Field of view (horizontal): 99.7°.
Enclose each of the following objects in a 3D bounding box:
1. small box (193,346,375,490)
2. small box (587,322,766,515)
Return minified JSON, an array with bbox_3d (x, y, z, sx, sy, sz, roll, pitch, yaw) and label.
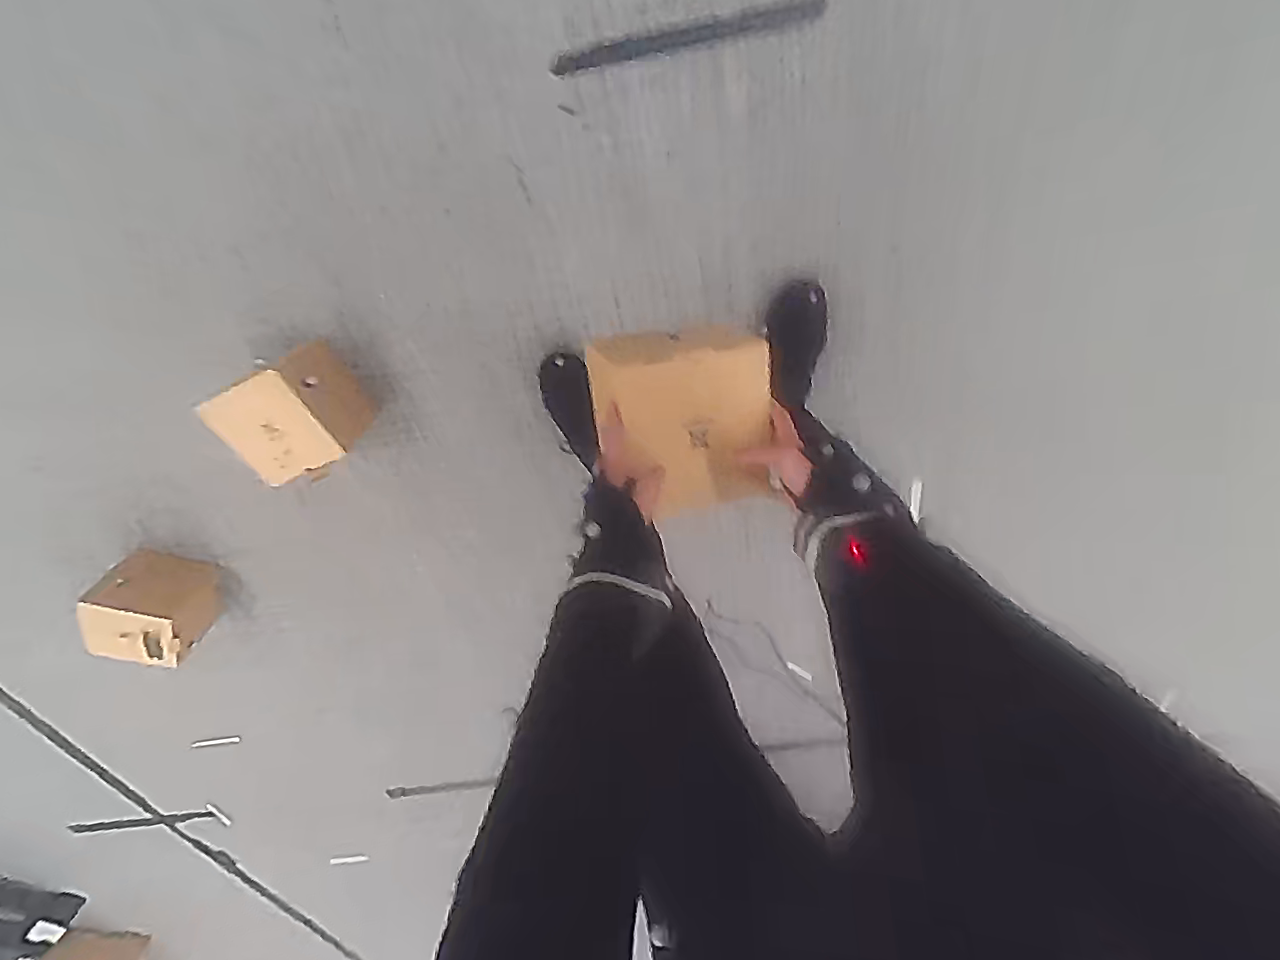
[{"bbox_3d":[-0.616,-0.119,0.964,0.168,0.176,0.179,-22,122,11],"label":"small box"},{"bbox_3d":[0.038,-0.083,0.646,0.168,0.176,0.179,-12,113,-11],"label":"small box"}]
